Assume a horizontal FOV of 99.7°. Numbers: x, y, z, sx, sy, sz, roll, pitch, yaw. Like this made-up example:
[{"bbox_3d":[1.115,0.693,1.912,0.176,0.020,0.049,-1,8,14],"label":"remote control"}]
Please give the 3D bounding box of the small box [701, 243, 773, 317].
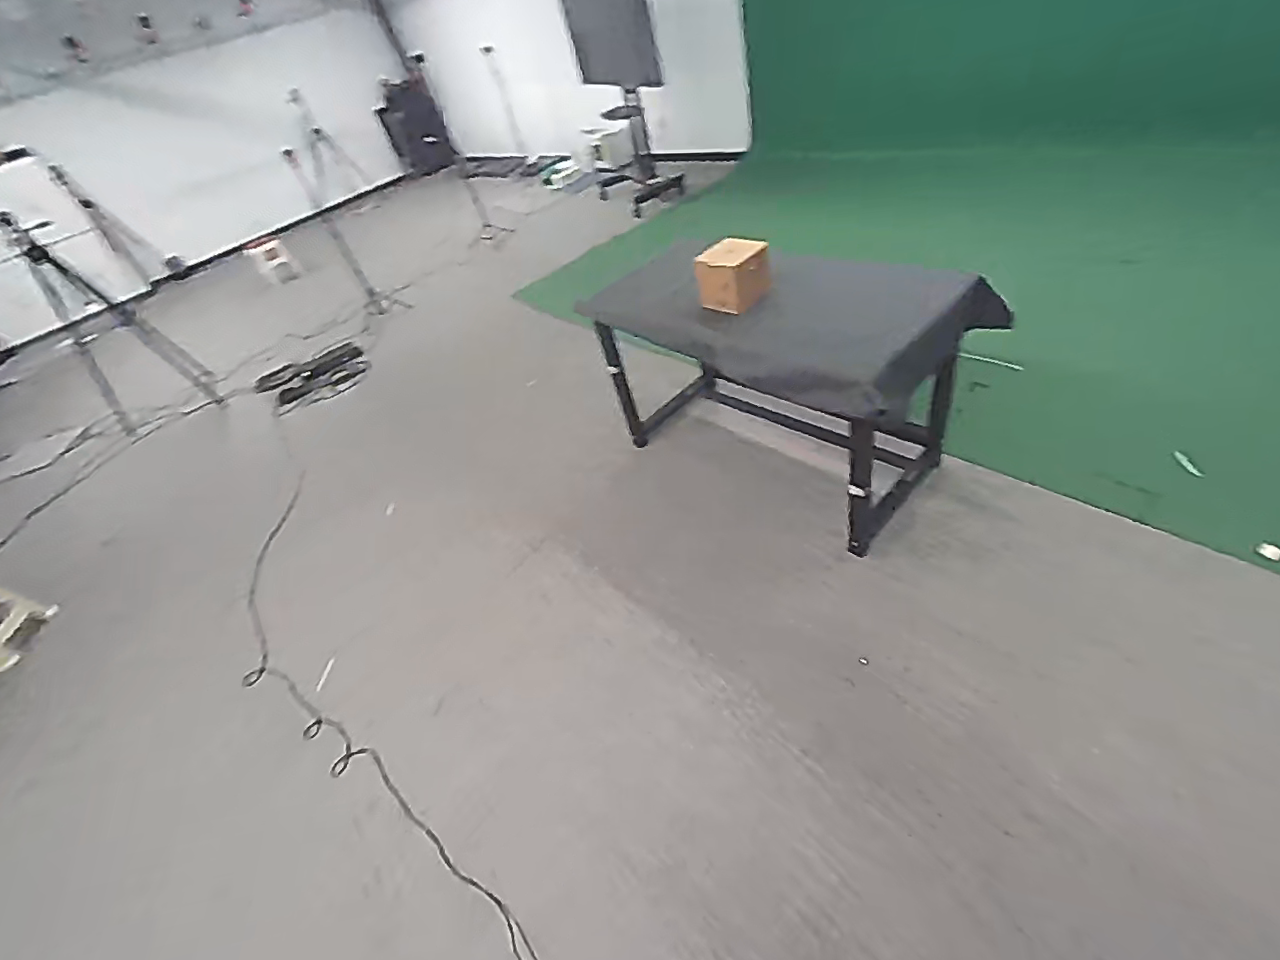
[{"bbox_3d":[0.331,-0.664,1.800,0.179,0.176,0.168,-39,46,-23],"label":"small box"}]
